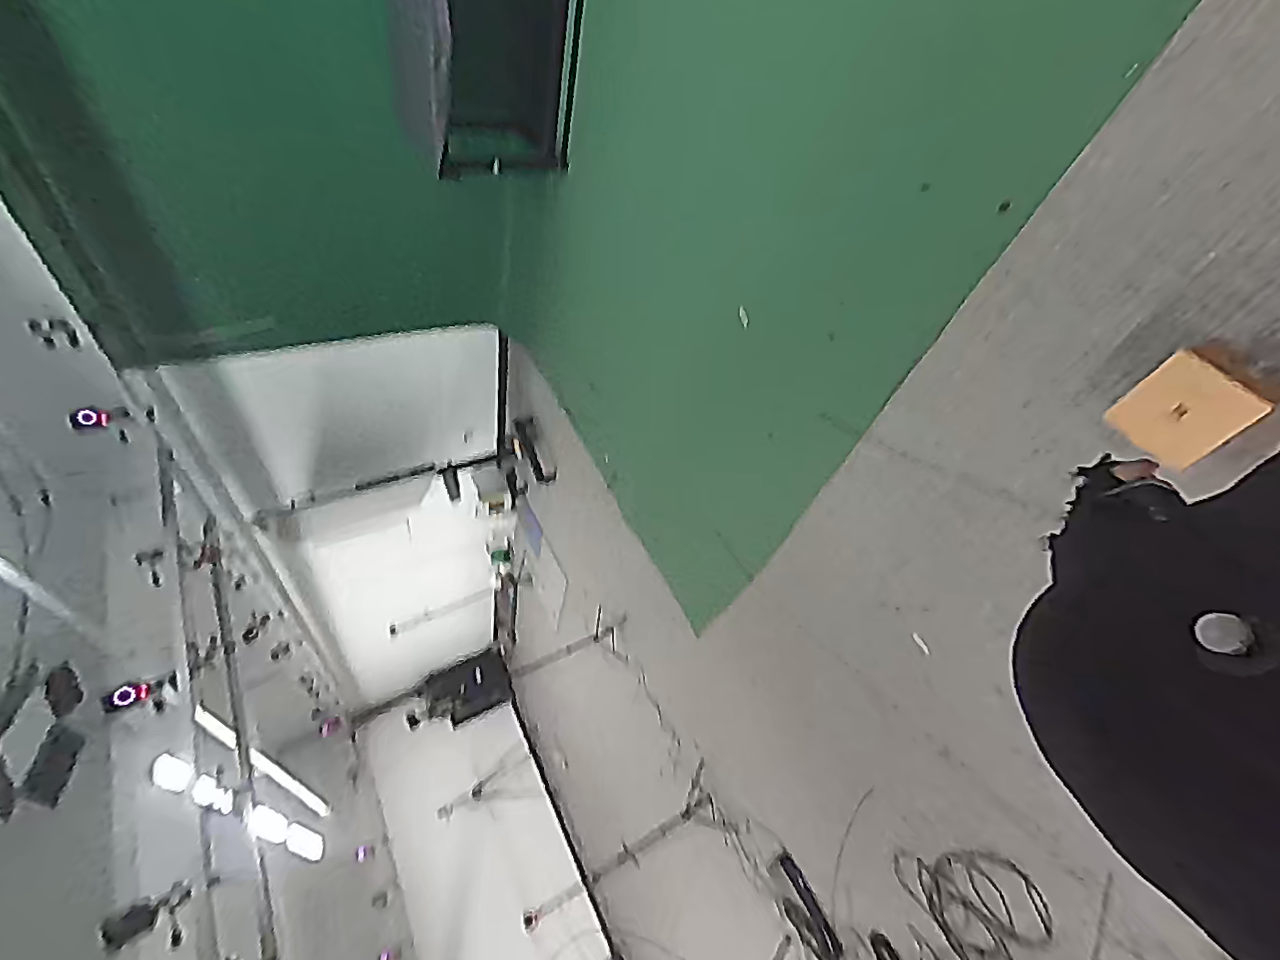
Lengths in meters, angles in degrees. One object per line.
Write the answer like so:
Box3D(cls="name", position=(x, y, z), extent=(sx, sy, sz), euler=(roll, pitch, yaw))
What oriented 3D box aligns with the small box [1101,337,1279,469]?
Box3D(cls="small box", position=(1.069, -0.153, 1.045), extent=(0.168, 0.176, 0.179), euler=(54, 146, 28))
